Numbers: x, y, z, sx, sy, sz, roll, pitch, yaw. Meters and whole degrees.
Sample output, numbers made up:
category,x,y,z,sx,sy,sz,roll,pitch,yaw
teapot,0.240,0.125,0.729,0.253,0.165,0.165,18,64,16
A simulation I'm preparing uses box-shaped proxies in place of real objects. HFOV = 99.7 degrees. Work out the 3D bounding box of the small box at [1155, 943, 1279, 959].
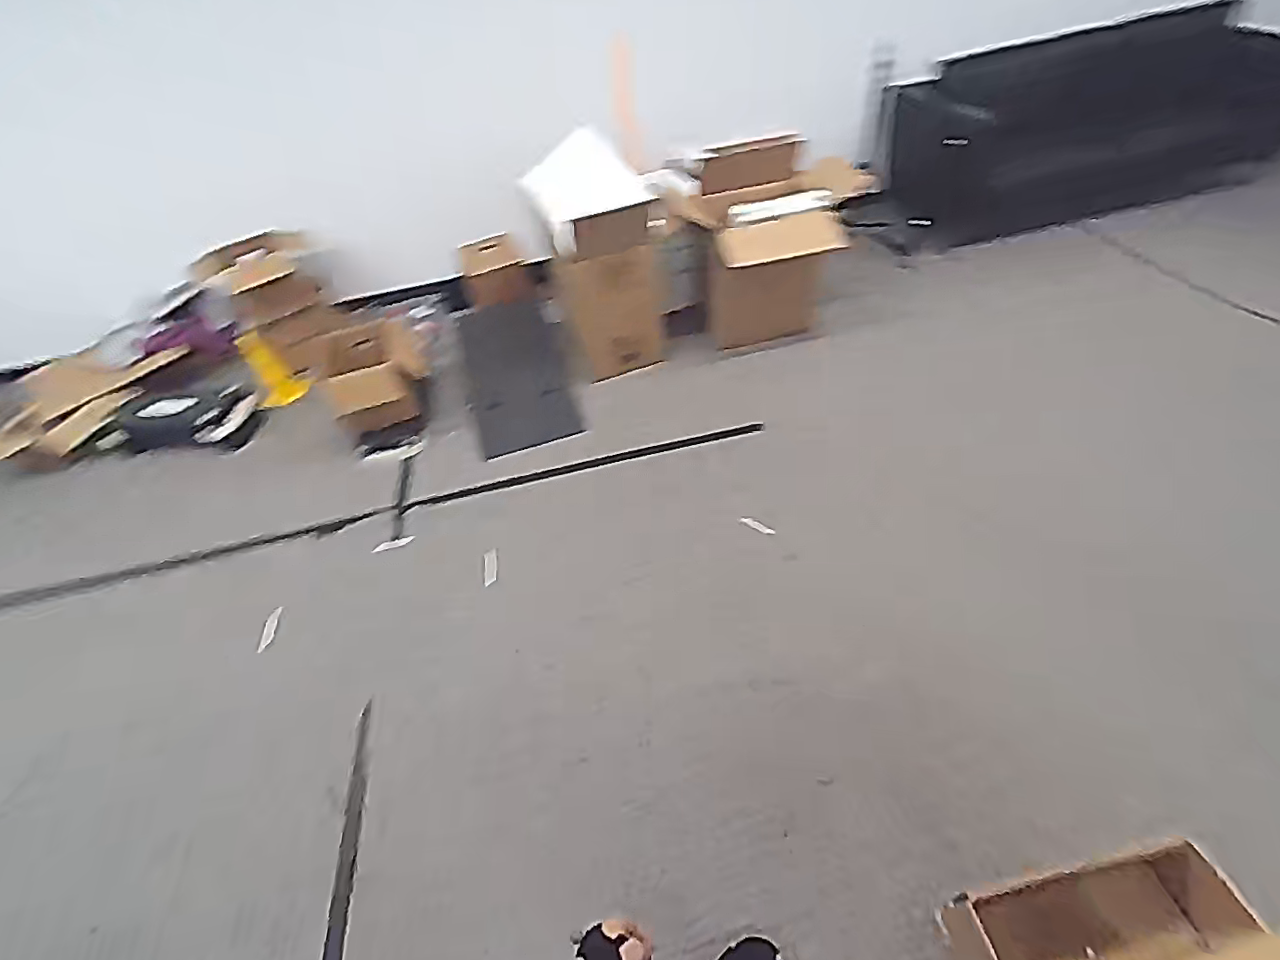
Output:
category,x,y,z,sx,sy,sz,roll,pitch,yaw
small box,0.703,0.672,0.635,0.179,0.176,0.168,-13,46,-4

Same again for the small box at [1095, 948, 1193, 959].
category,x,y,z,sx,sy,sz,roll,pitch,yaw
small box,0.716,0.783,0.757,0.179,0.176,0.168,-12,46,-3
